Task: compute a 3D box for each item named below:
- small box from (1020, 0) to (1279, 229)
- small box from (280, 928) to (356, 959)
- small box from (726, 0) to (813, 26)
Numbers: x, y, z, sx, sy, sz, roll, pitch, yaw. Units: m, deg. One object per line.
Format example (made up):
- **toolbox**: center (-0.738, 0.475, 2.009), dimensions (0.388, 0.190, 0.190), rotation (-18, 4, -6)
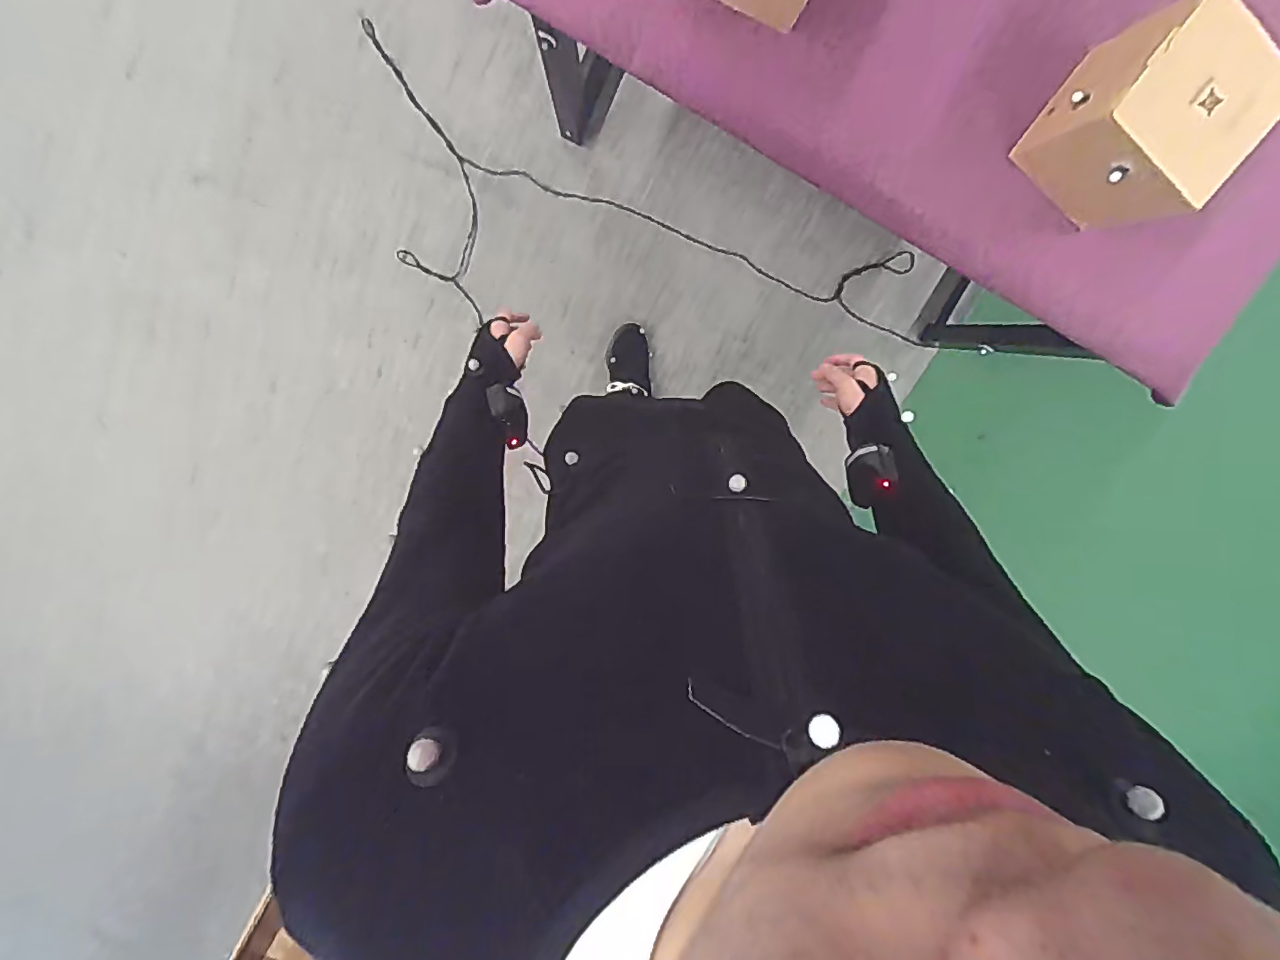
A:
- **small box**: center (0.653, -0.453, 0.698), dimensions (0.179, 0.176, 0.168), rotation (35, 101, -12)
- **small box**: center (-0.872, 1.298, 1.458), dimensions (0.179, 0.176, 0.168), rotation (29, 103, -11)
- **small box**: center (0.158, -0.665, 0.606), dimensions (0.179, 0.176, 0.168), rotation (20, 104, -9)
